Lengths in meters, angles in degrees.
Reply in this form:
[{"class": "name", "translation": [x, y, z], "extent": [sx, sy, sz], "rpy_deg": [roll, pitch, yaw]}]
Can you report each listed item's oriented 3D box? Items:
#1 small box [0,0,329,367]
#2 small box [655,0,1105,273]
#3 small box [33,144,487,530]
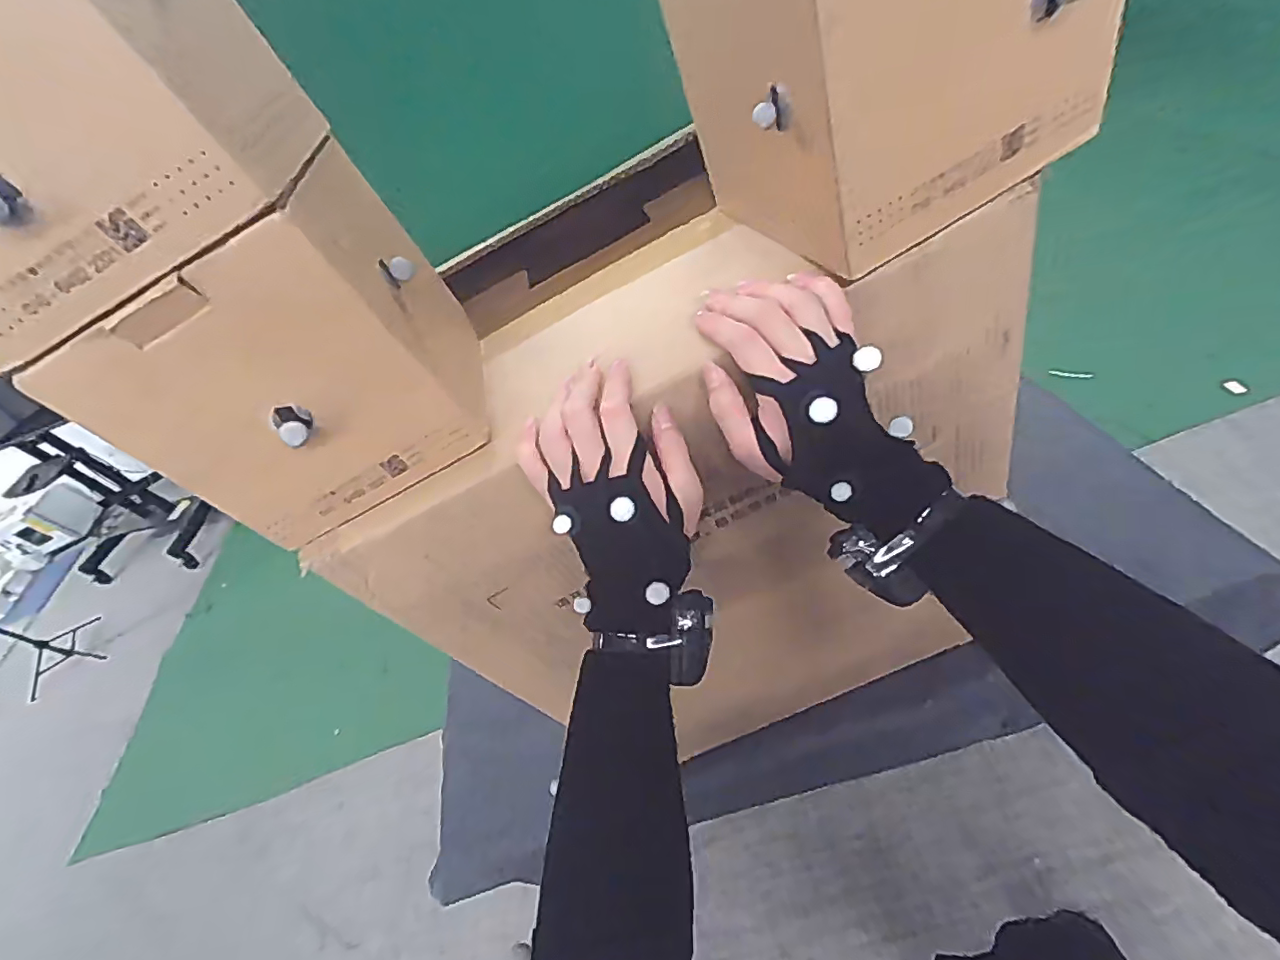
[{"class": "small box", "translation": [-0.287, -0.187, 0.261], "extent": [0.168, 0.176, 0.179], "rpy_deg": [-28, 45, 7]}, {"class": "small box", "translation": [0.131, -0.250, 0.317], "extent": [0.168, 0.176, 0.179], "rpy_deg": [-30, 43, 0]}, {"class": "small box", "translation": [-0.223, -0.088, 0.376], "extent": [0.168, 0.176, 0.179], "rpy_deg": [-28, 45, 5]}]
